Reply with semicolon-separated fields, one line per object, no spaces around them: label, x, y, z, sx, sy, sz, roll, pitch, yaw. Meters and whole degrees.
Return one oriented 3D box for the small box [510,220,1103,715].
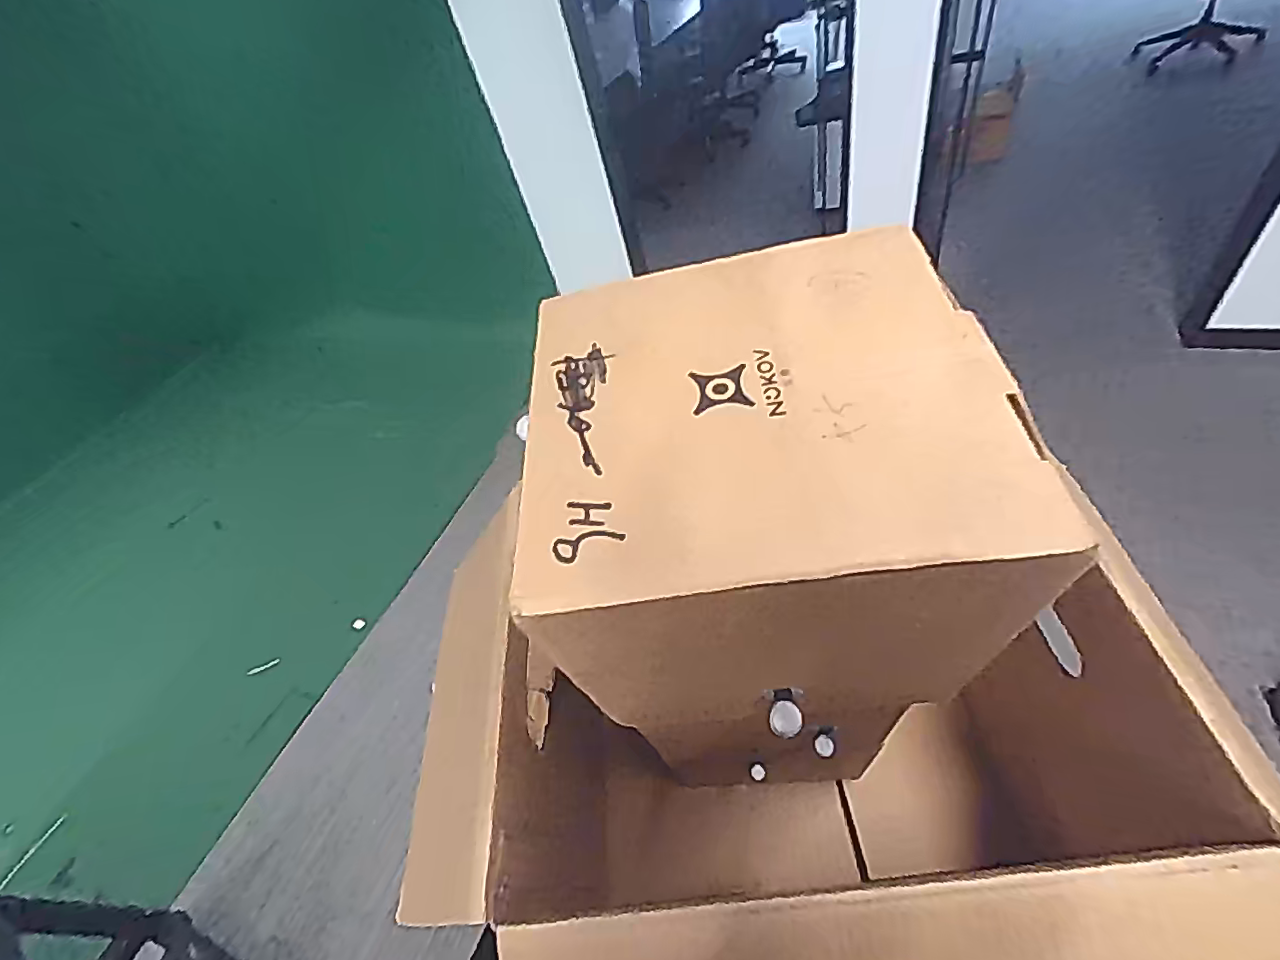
small box;0.055;0.007;0.268;0.179;0.176;0.168;-8;53;7
